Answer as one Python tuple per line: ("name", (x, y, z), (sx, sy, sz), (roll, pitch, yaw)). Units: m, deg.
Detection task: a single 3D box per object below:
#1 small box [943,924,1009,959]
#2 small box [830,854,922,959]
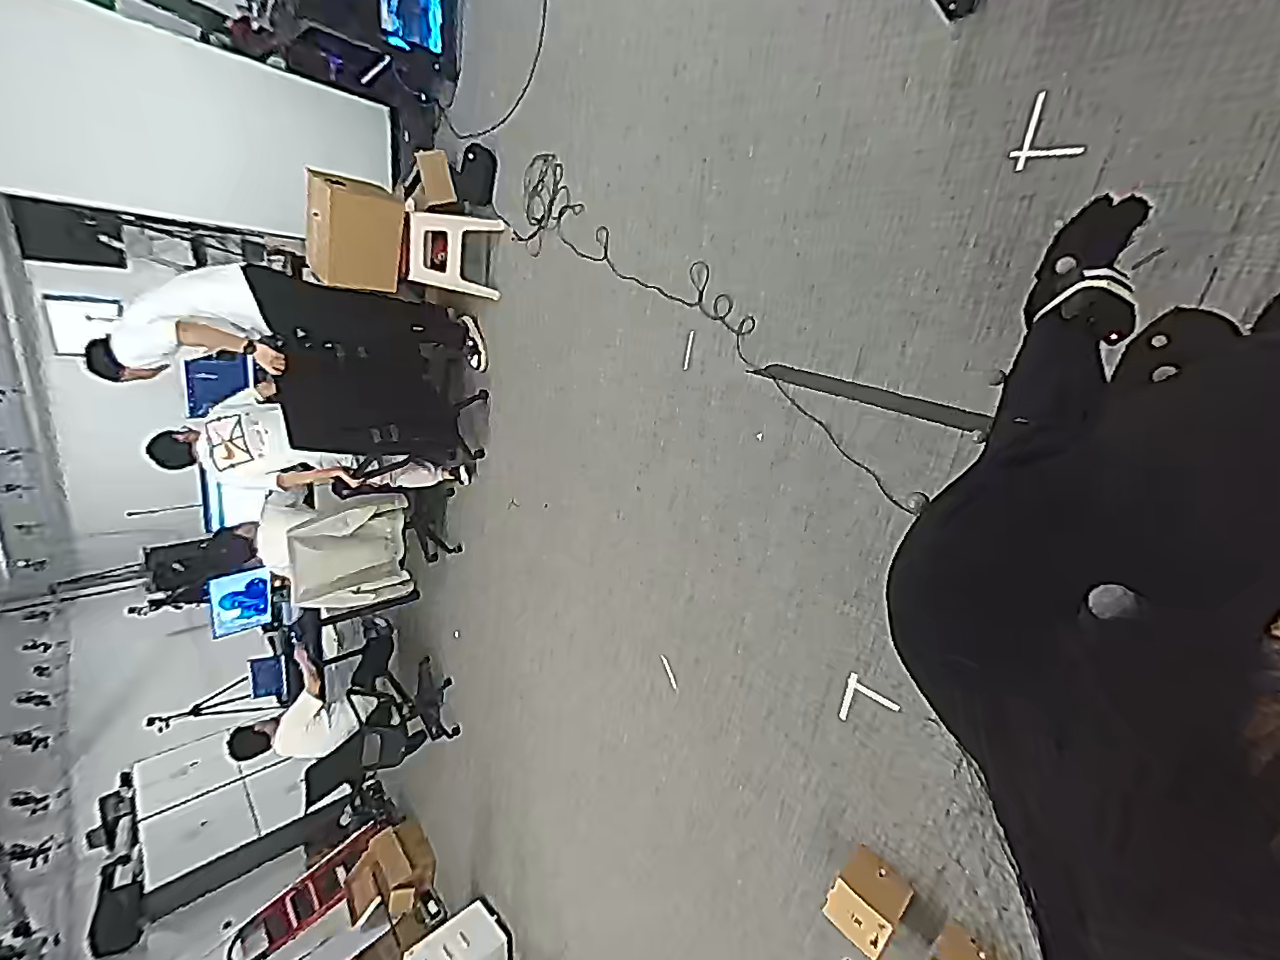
("small box", (0.906, 1.377, 1.461), (0.168, 0.176, 0.179), (24, 114, 41))
("small box", (0.718, 1.286, 1.643), (0.179, 0.176, 0.168), (29, 118, 40))
